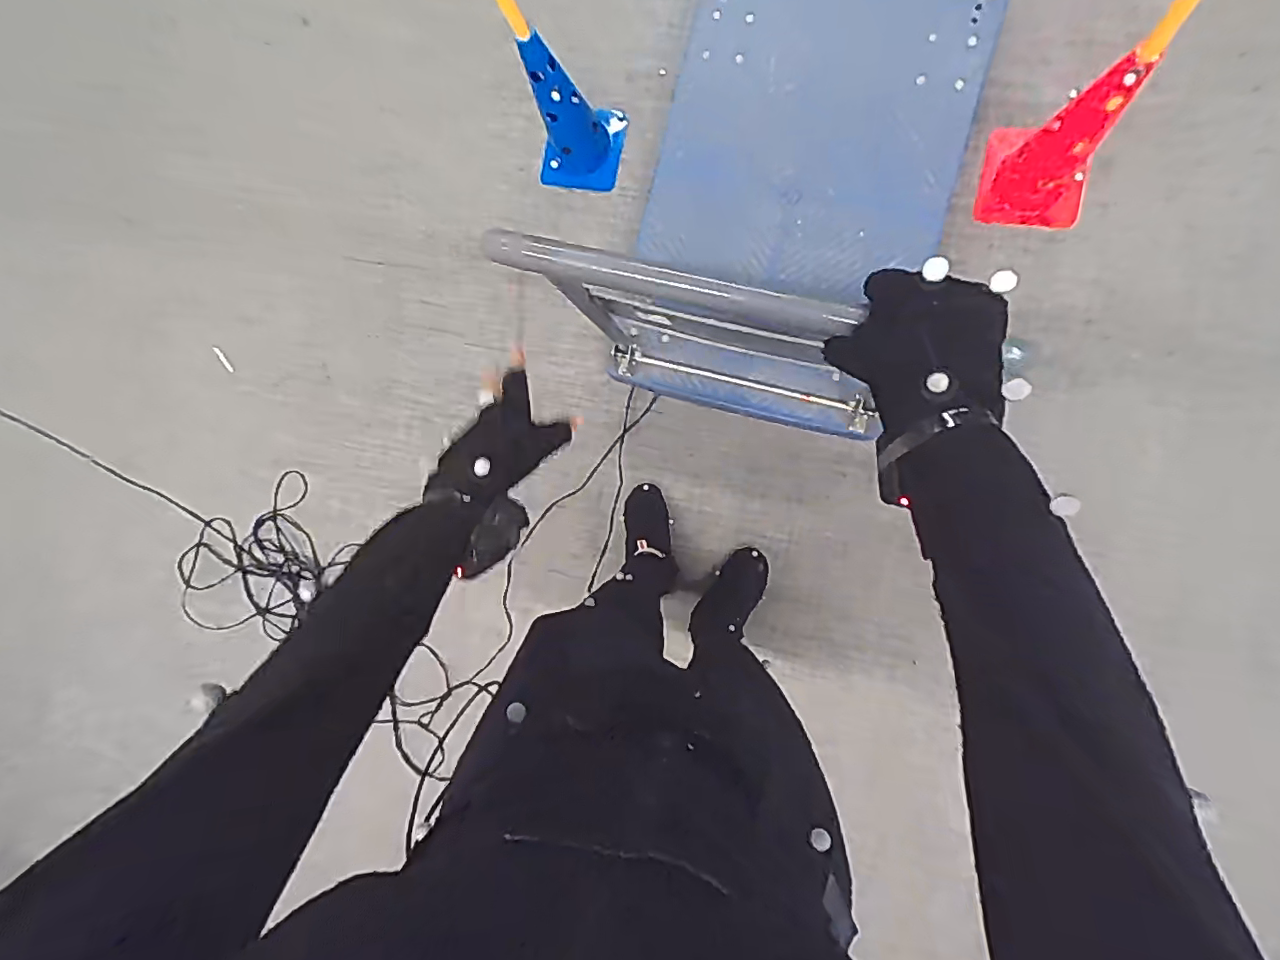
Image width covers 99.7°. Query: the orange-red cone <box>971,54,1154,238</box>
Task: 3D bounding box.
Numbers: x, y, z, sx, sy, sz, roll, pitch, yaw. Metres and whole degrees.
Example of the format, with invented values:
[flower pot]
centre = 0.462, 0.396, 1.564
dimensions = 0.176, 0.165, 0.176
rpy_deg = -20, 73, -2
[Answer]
[orange-red cone]
centre = 0.794, -0.625, 0.991
dimensions = 0.199, 0.360, 0.198
rpy_deg = 12, 92, 13
